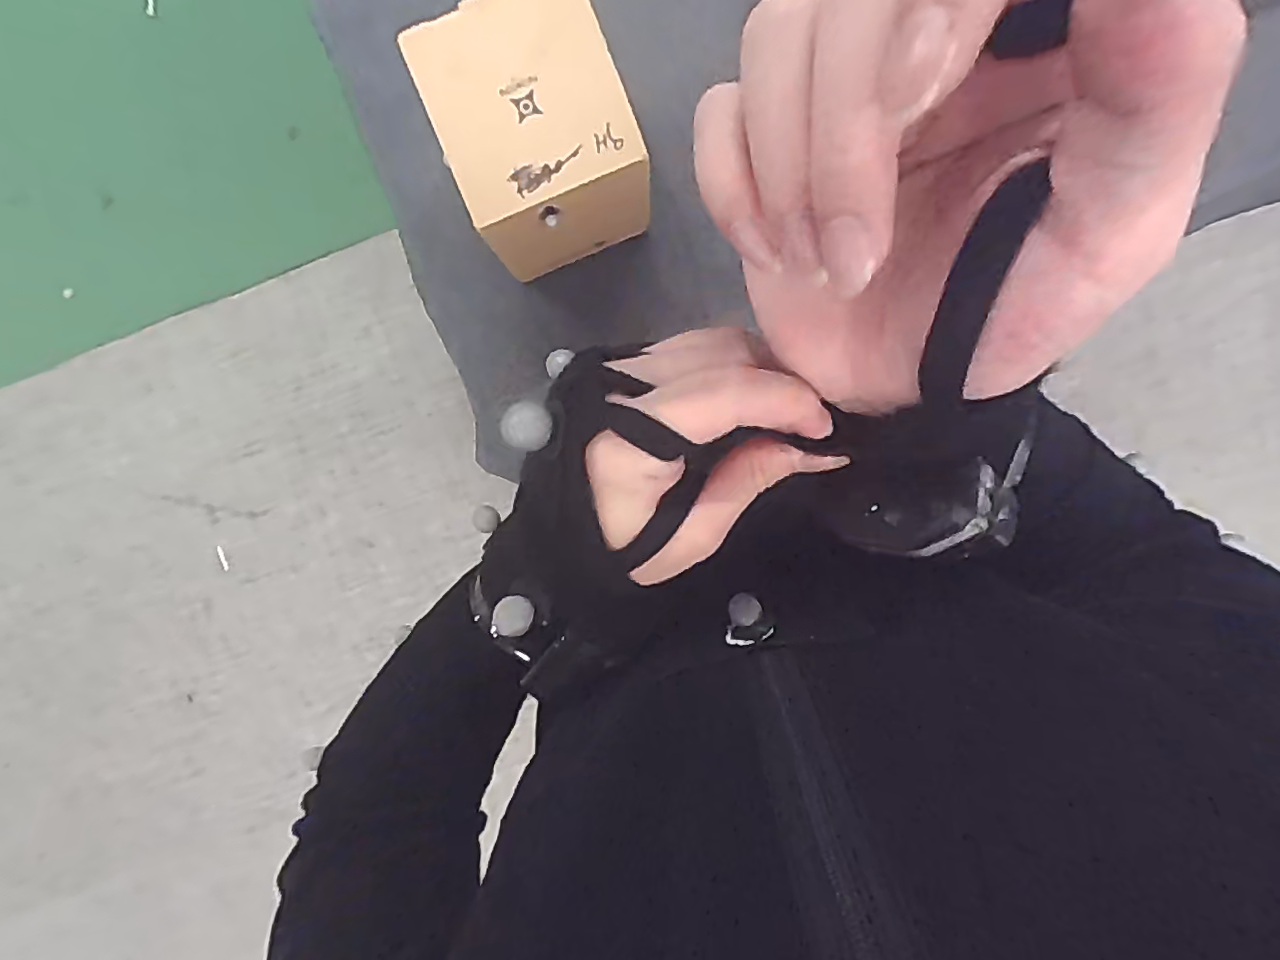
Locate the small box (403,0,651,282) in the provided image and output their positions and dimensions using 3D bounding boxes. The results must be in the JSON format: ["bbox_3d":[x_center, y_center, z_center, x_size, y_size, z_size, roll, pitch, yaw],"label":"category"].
[{"bbox_3d":[-0.097,-0.329,0.541,0.168,0.176,0.179,-22,94,3],"label":"small box"}]
